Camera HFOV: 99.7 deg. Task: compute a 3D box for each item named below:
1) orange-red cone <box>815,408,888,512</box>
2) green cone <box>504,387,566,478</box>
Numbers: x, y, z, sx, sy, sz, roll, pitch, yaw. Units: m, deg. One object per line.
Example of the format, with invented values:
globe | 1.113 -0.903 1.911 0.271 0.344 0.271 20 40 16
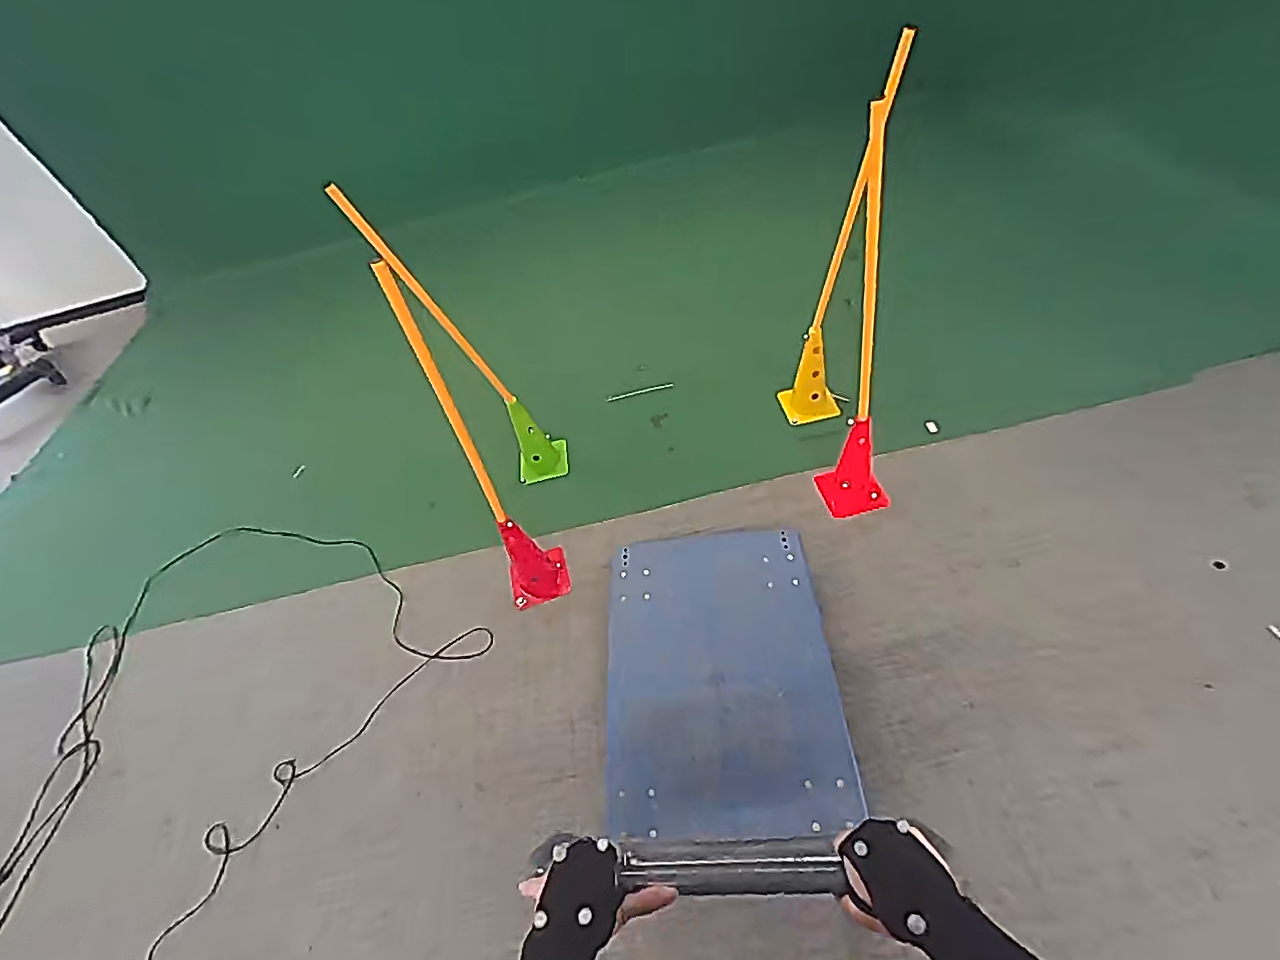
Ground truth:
orange-red cone | 0.692 -0.089 1.726 0.198 0.360 0.199 -13 48 2
green cone | -0.436 -0.208 2.088 0.200 0.368 0.202 -14 48 3
